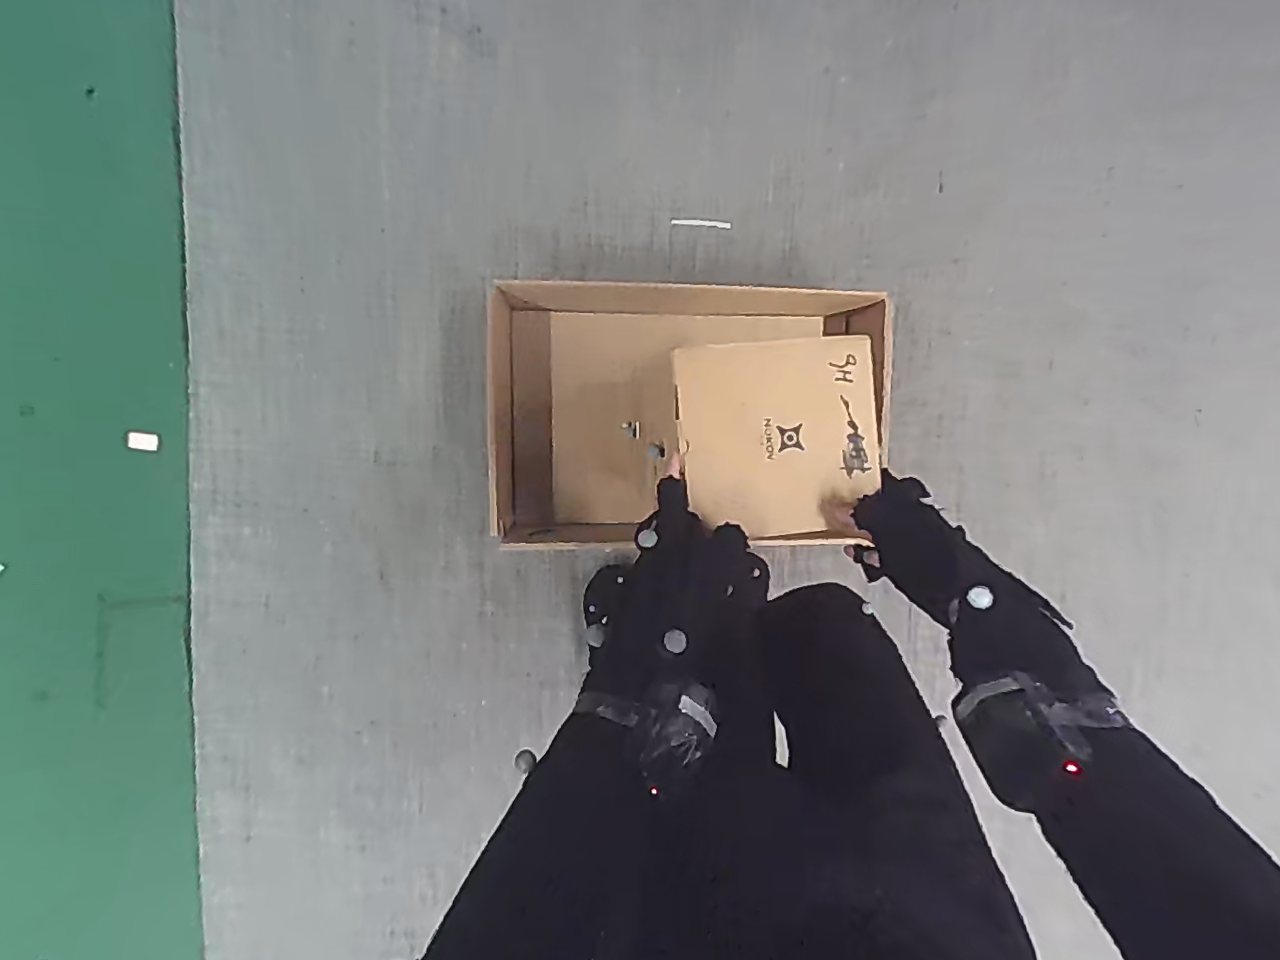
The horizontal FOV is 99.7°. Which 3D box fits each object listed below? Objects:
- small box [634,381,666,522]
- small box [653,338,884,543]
[{"bbox_3d":[0.092,-0.045,0.709,0.179,0.176,0.168,-6,94,-5],"label":"small box"},{"bbox_3d":[0.111,-0.032,0.547,0.179,0.176,0.168,-8,89,-7],"label":"small box"}]
